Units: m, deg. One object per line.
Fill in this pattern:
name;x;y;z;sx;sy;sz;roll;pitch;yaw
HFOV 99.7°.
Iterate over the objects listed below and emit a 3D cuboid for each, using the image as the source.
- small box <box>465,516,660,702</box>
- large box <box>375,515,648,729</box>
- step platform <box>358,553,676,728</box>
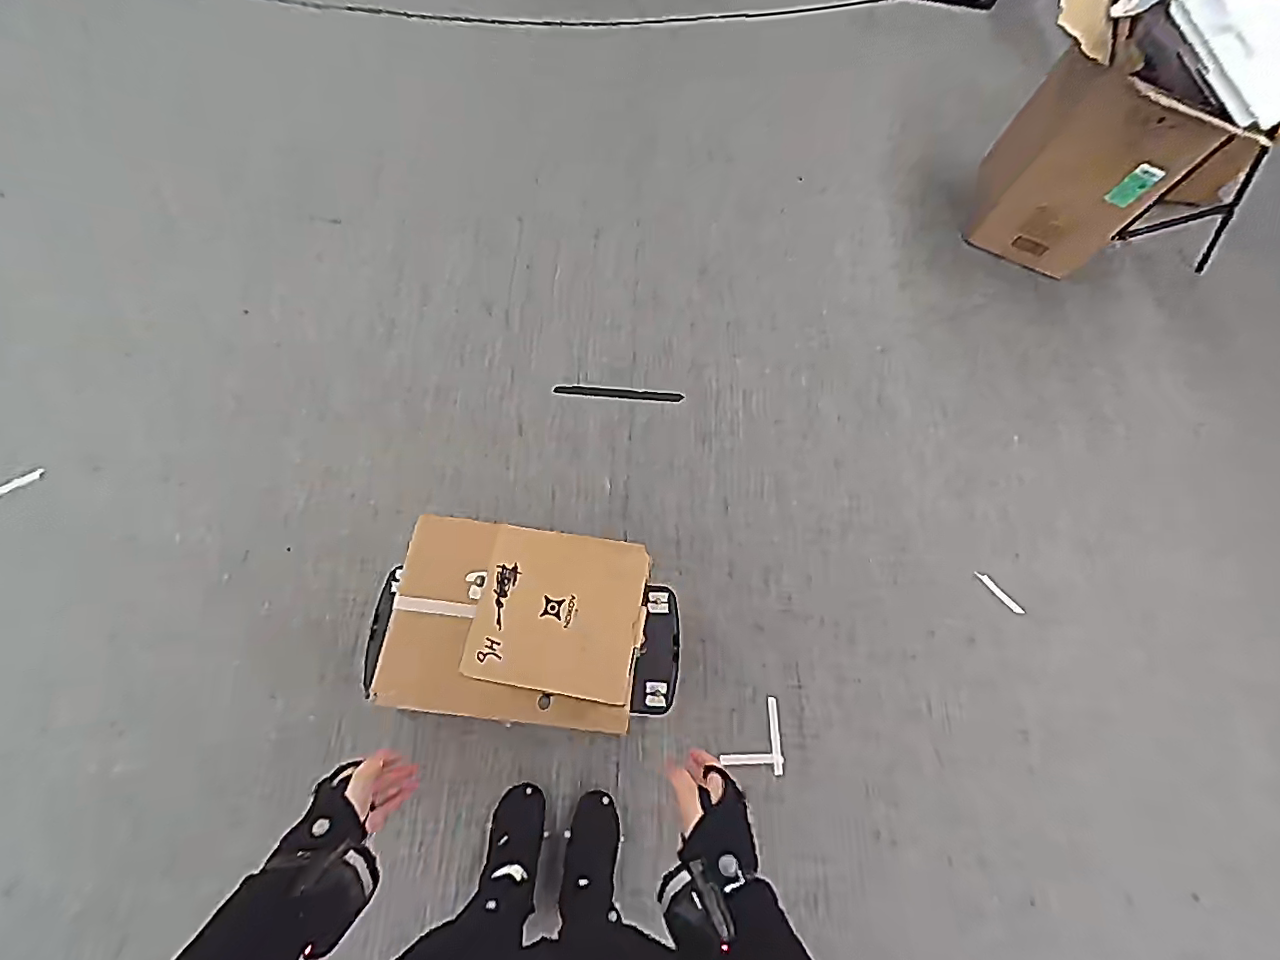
small box;-0.087;0.161;0.647;0.179;0.176;0.168;13;66;-3
large box;-0.207;0.279;1.028;0.408;0.320;0.320;8;66;-2
step platform;-0.260;0.369;1.243;0.684;0.204;0.286;10;67;-2
